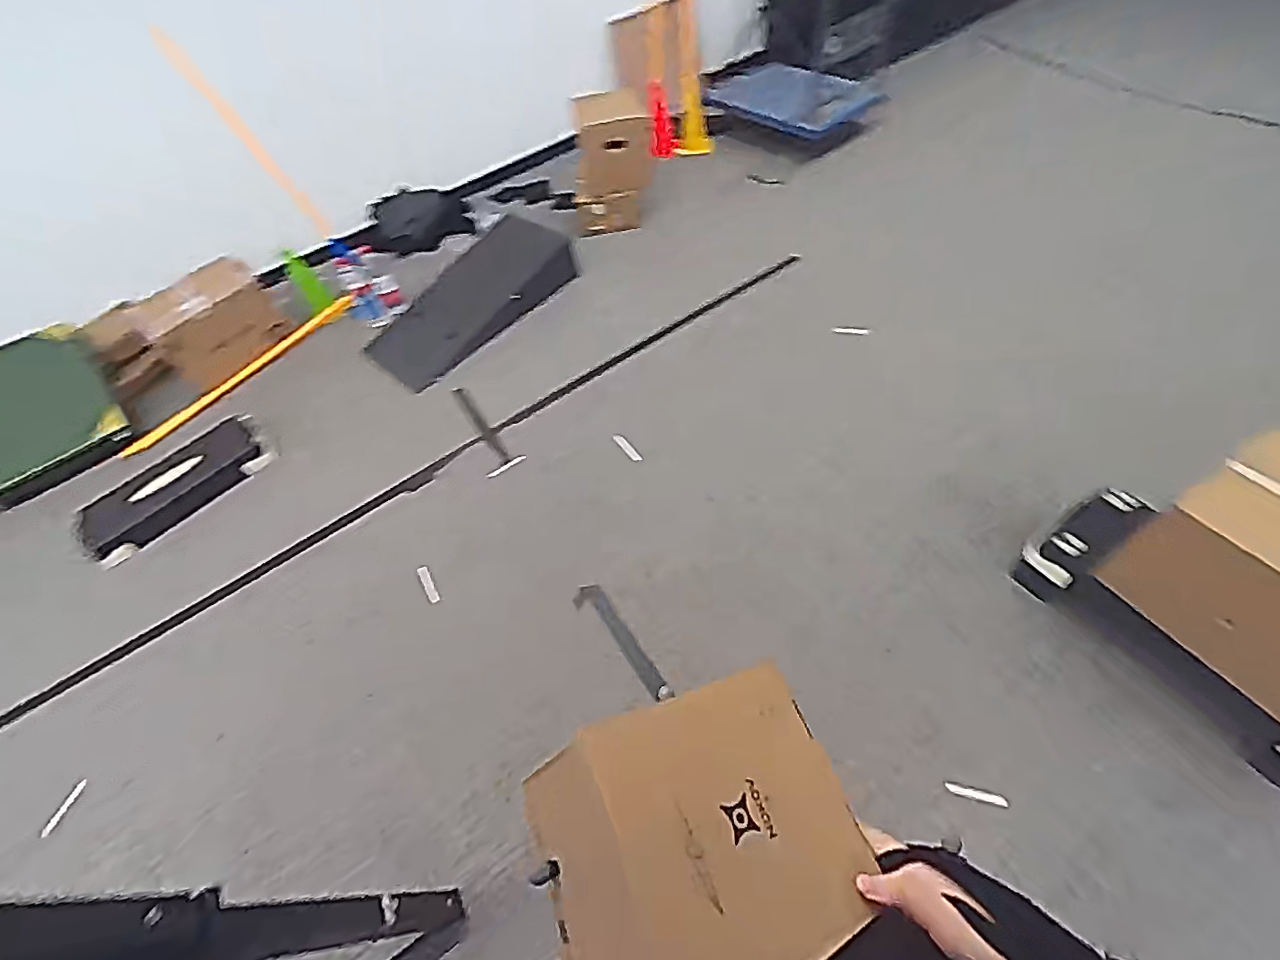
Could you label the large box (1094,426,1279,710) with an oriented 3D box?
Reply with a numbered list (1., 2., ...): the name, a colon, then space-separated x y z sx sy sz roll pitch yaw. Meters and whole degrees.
1. large box: 1.243 0.178 1.043 0.320 0.320 0.408 -30 53 -12
